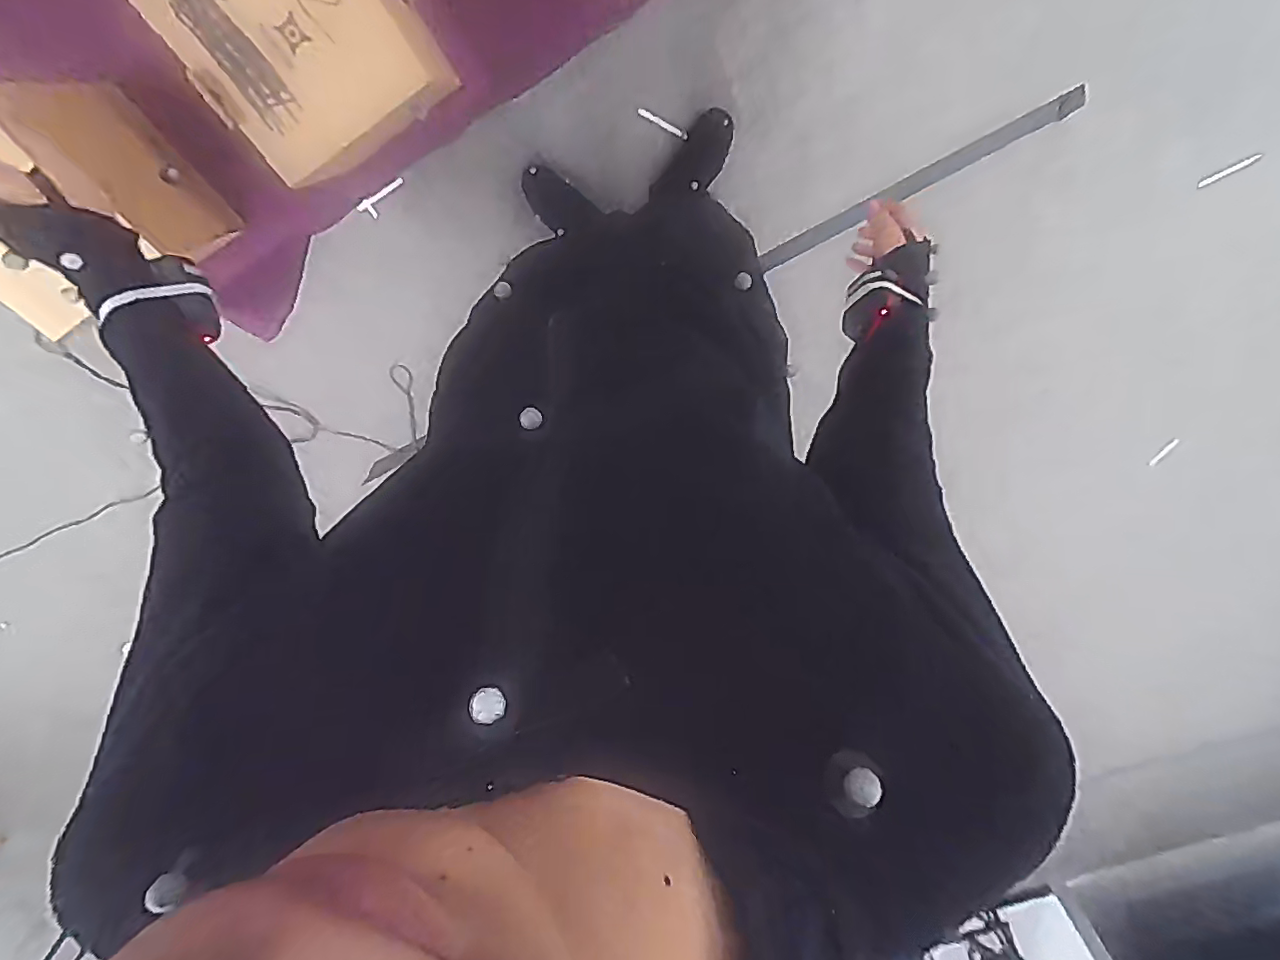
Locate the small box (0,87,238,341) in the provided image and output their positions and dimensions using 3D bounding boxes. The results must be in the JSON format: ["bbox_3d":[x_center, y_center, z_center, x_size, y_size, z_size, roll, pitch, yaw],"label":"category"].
[{"bbox_3d":[-0.595,-0.285,0.586,0.179,0.176,0.168,-28,124,12],"label":"small box"}]
